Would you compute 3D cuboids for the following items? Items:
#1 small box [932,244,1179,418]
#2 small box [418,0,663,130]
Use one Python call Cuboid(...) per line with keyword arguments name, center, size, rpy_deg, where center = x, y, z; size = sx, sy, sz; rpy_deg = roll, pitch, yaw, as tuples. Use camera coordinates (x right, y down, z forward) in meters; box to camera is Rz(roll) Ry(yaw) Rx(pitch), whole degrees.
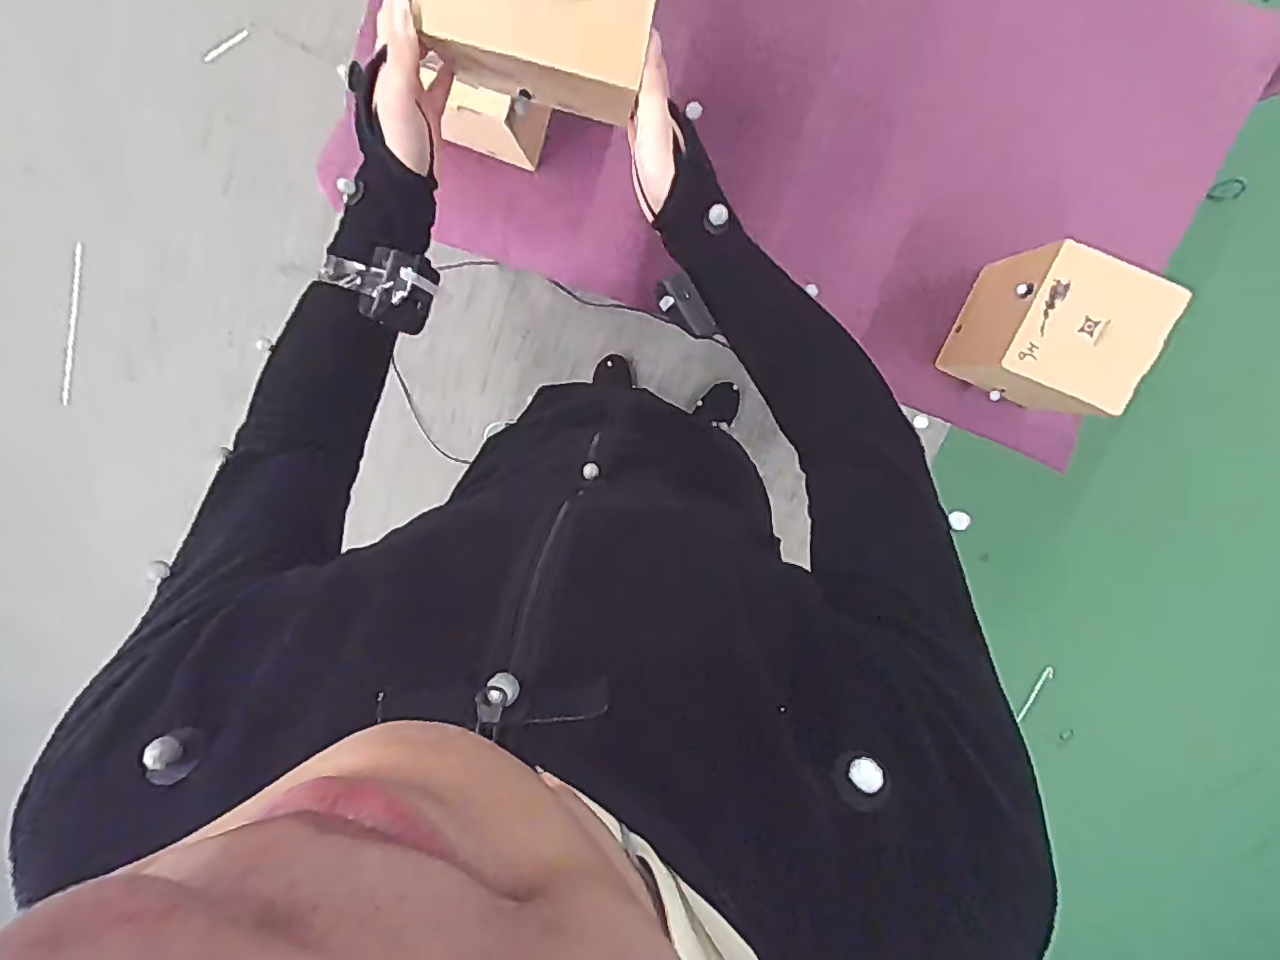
Cuboid(name="small box", center=(0.560, -0.201, 0.756), size=(0.179, 0.176, 0.168), rpy_deg=(22, 100, -4))
Cuboid(name="small box", center=(-0.065, -0.409, 0.430), size=(0.168, 0.176, 0.179), rpy_deg=(9, 114, -9))
